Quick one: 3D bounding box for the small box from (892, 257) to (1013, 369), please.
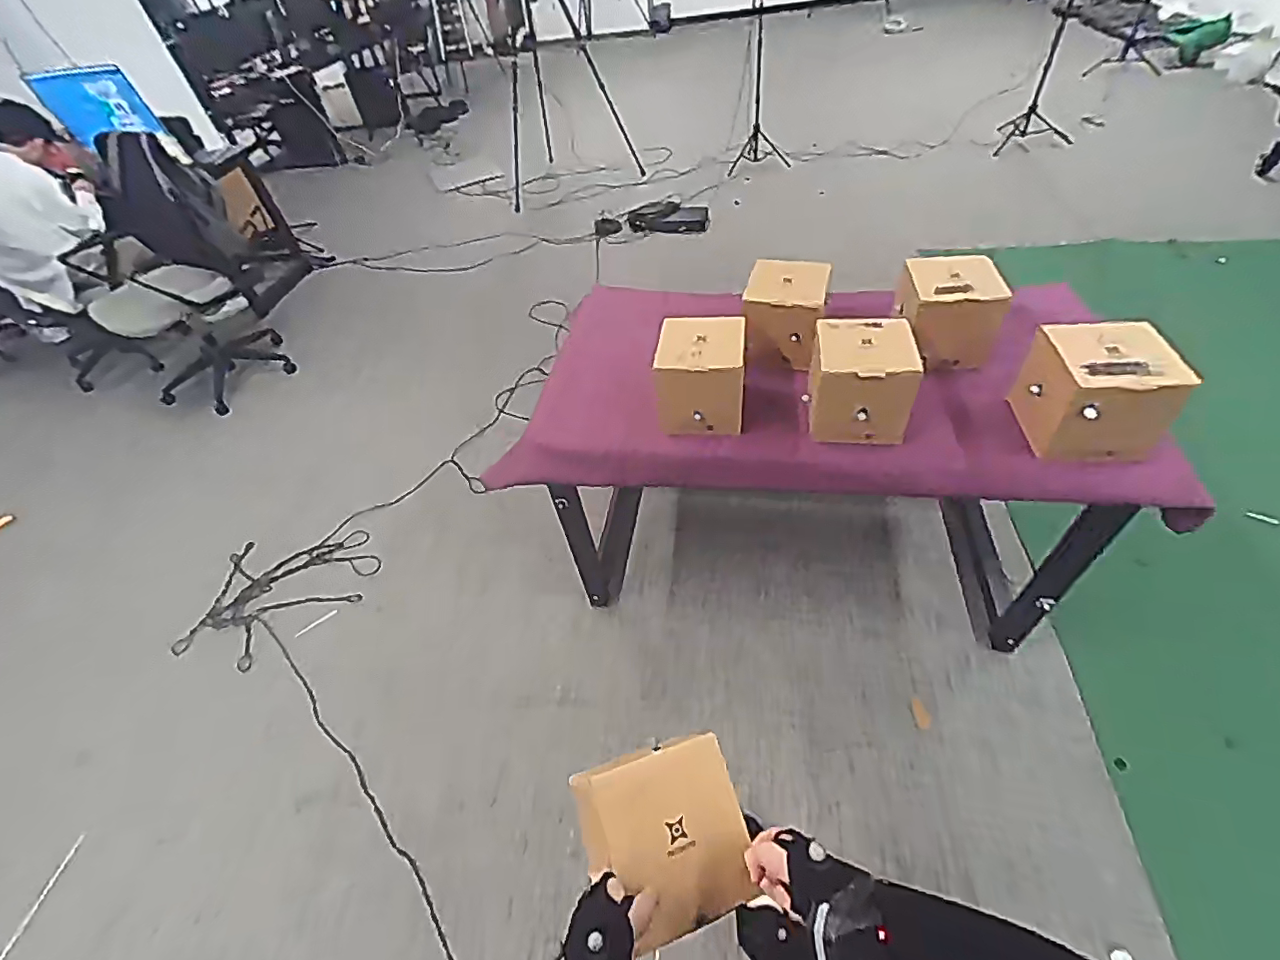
[{"bbox_3d":[0.645,-0.348,1.143,0.168,0.176,0.179,2,47,10],"label":"small box"}]

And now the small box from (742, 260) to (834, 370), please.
[{"bbox_3d":[0.327,-0.368,1.211,0.168,0.176,0.179,11,51,17],"label":"small box"}]

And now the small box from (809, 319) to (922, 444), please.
[{"bbox_3d":[0.418,-0.185,1.029,0.168,0.176,0.179,4,48,12],"label":"small box"}]

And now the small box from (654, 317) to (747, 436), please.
[{"bbox_3d":[0.127,-0.212,1.097,0.168,0.176,0.179,3,48,12],"label":"small box"}]

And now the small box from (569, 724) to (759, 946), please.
[{"bbox_3d":[0.015,0.425,0.677,0.168,0.176,0.179,-9,67,-20],"label":"small box"}]
